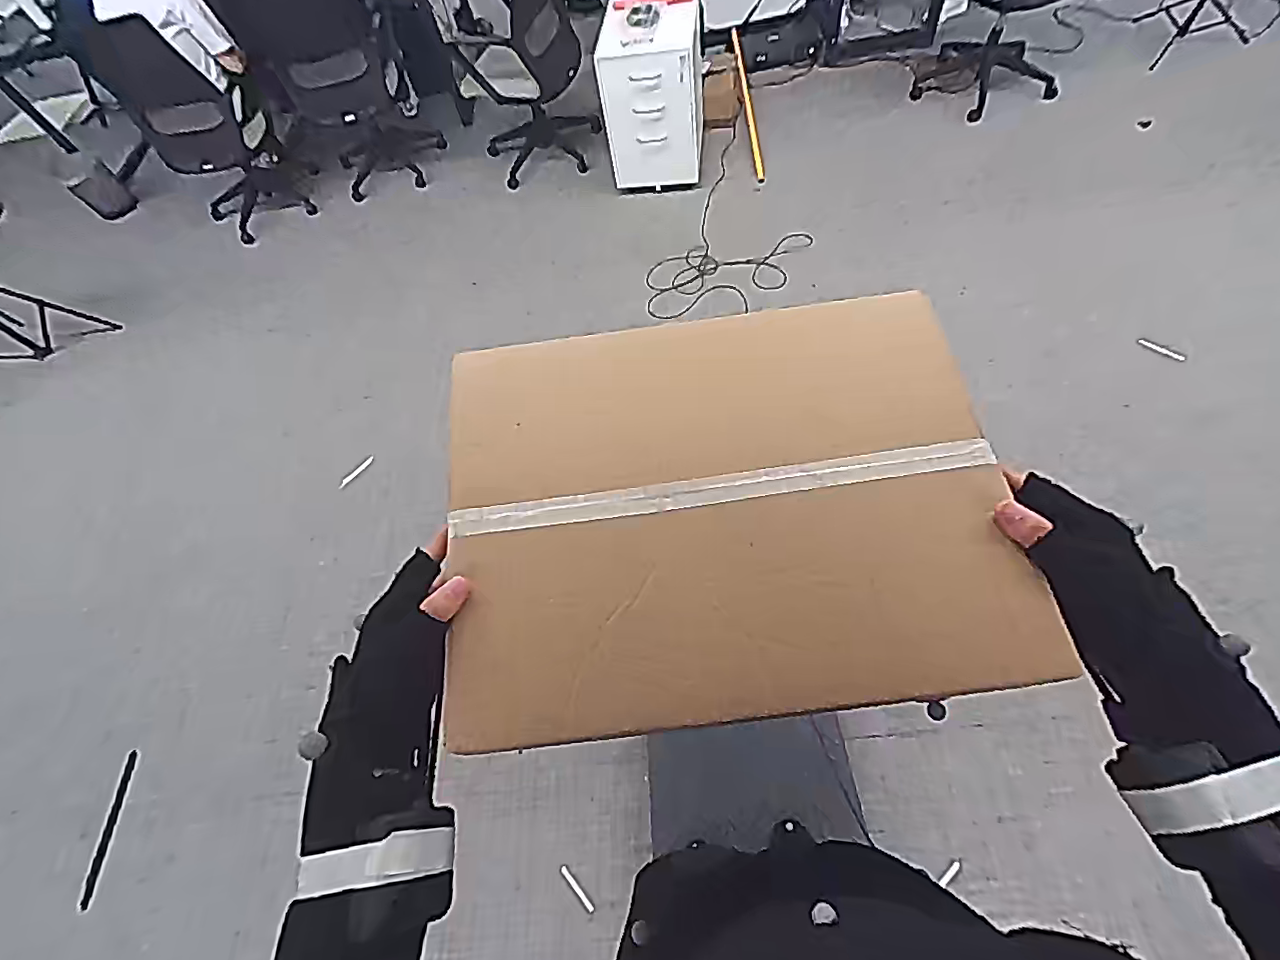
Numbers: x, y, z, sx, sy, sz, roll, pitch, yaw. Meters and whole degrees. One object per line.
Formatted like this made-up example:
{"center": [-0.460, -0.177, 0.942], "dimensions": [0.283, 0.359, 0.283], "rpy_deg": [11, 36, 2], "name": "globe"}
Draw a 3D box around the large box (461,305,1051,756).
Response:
{"center": [0.071, 0.071, 0.552], "dimensions": [0.408, 0.320, 0.320], "rpy_deg": [-8, 66, 2], "name": "large box"}
